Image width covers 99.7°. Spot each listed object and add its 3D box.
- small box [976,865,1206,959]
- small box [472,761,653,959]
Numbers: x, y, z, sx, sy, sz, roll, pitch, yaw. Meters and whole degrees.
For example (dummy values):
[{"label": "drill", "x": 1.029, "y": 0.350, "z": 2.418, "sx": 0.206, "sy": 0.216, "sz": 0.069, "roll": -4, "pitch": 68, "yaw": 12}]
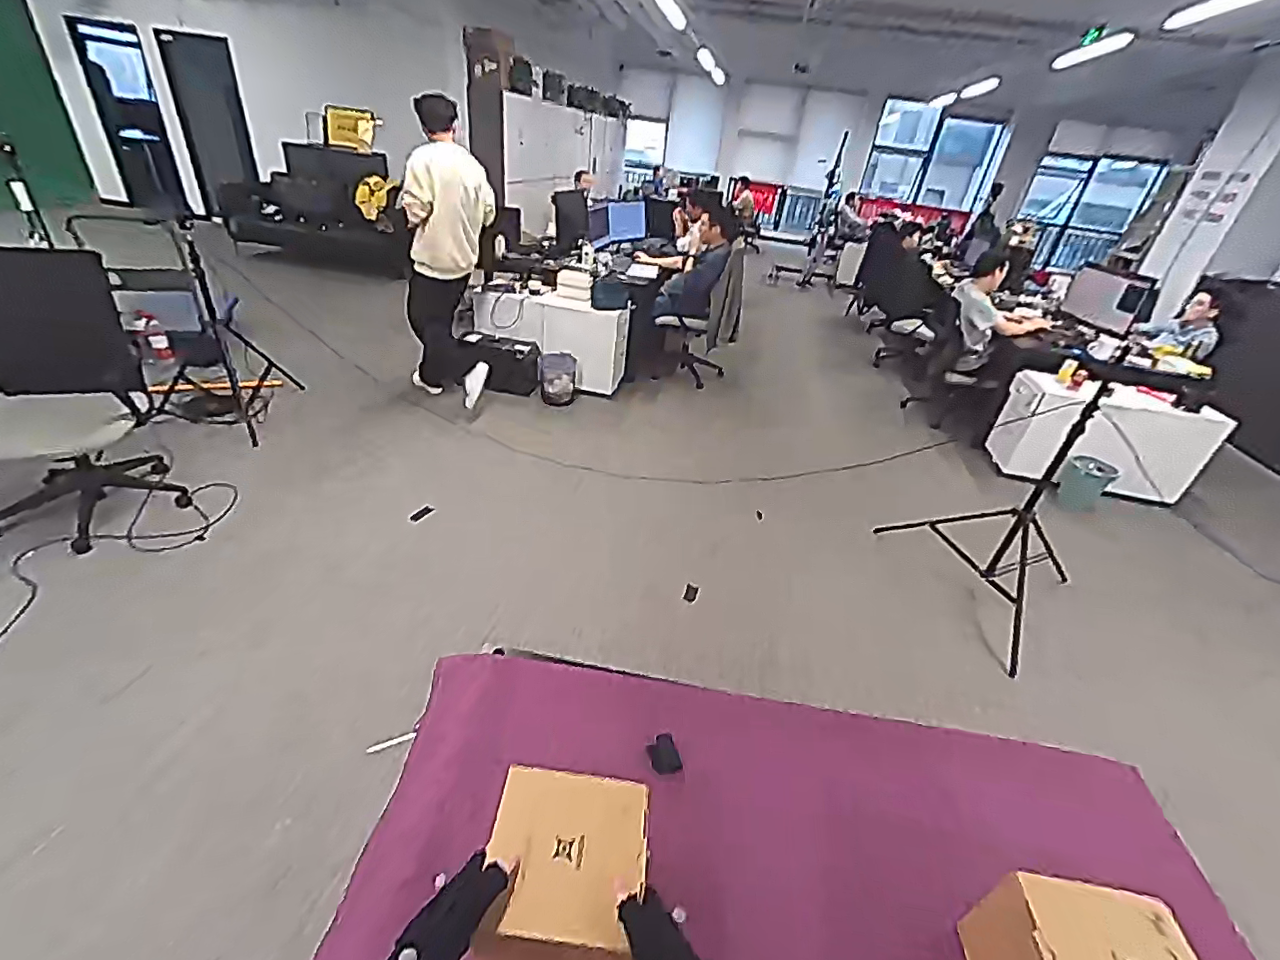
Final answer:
[{"label": "small box", "x": 0.518, "y": 0.584, "z": 0.617, "sx": 0.179, "sy": 0.176, "sz": 0.168, "roll": 8, "pitch": 32, "yaw": 4}, {"label": "small box", "x": -0.084, "y": 0.470, "z": 0.646, "sx": 0.179, "sy": 0.176, "sz": 0.168, "roll": 7, "pitch": 34, "yaw": 0}]
